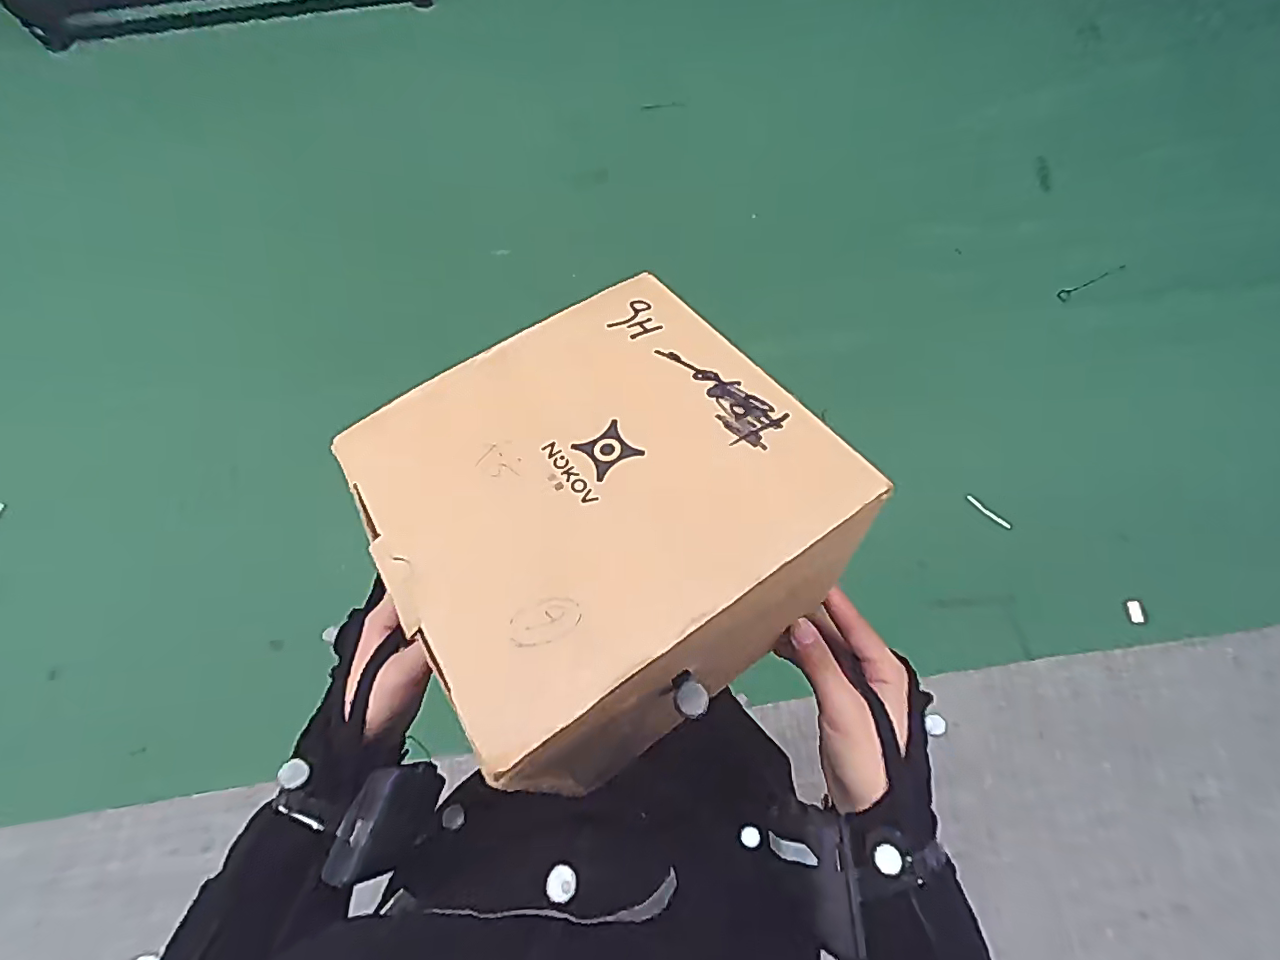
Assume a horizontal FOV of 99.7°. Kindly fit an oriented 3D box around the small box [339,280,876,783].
[{"bbox_3d":[-0.014,0.036,0.292,0.179,0.176,0.168,-33,61,-13],"label":"small box"}]
